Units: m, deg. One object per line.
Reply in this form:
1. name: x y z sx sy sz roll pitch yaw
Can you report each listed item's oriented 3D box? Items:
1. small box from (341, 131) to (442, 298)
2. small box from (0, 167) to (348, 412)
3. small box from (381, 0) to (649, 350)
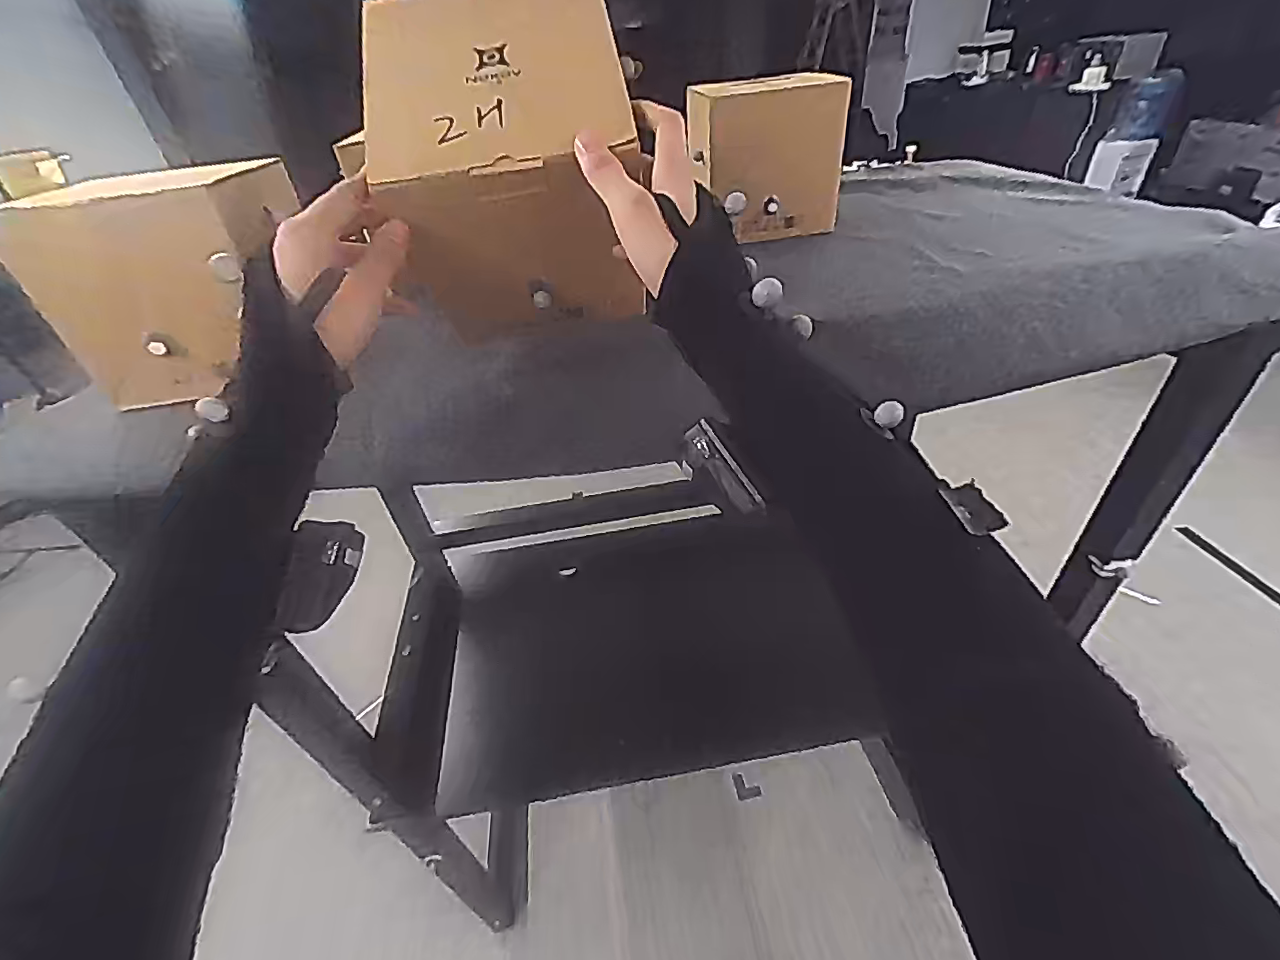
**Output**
1. small box: -0.251 -0.355 0.708 0.179 0.176 0.168 -11 38 -6
2. small box: -0.406 -0.185 0.514 0.168 0.176 0.179 -11 38 -6
3. small box: -0.089 -0.233 0.436 0.168 0.176 0.179 -10 70 -2
